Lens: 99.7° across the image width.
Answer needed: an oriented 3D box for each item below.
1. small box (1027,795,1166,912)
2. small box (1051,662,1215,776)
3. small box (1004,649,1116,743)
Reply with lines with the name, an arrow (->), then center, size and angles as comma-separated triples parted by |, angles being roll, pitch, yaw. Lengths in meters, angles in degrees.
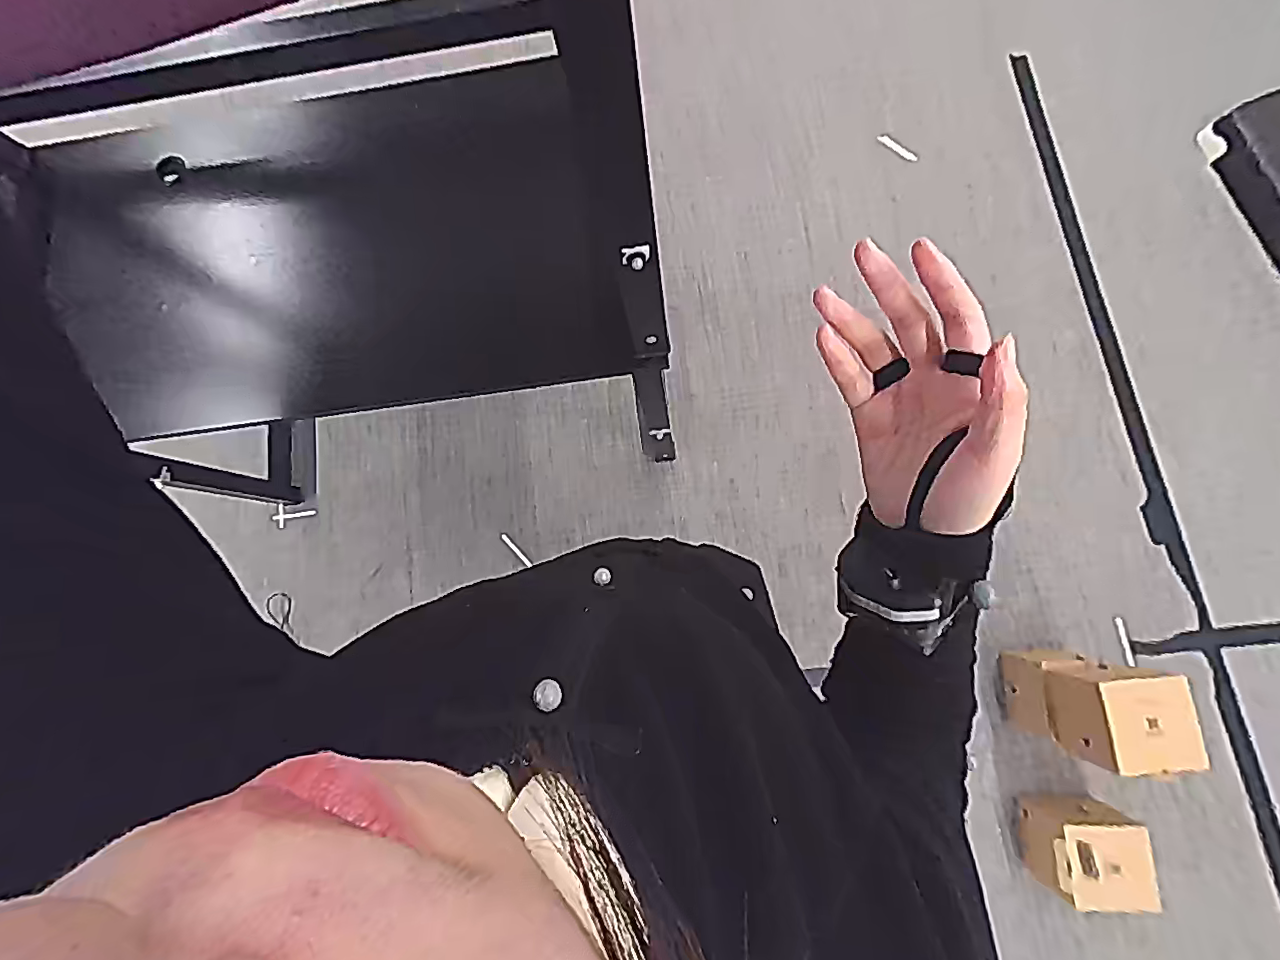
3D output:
small box -> 1.008, 0.830, 1.217 | 0.179, 0.176, 0.168 | -2, 80, 4
small box -> 0.996, 0.482, 1.111 | 0.168, 0.176, 0.179 | -6, 79, 4
small box -> 0.997, 0.502, 1.274 | 0.168, 0.176, 0.179 | -2, 81, 5
